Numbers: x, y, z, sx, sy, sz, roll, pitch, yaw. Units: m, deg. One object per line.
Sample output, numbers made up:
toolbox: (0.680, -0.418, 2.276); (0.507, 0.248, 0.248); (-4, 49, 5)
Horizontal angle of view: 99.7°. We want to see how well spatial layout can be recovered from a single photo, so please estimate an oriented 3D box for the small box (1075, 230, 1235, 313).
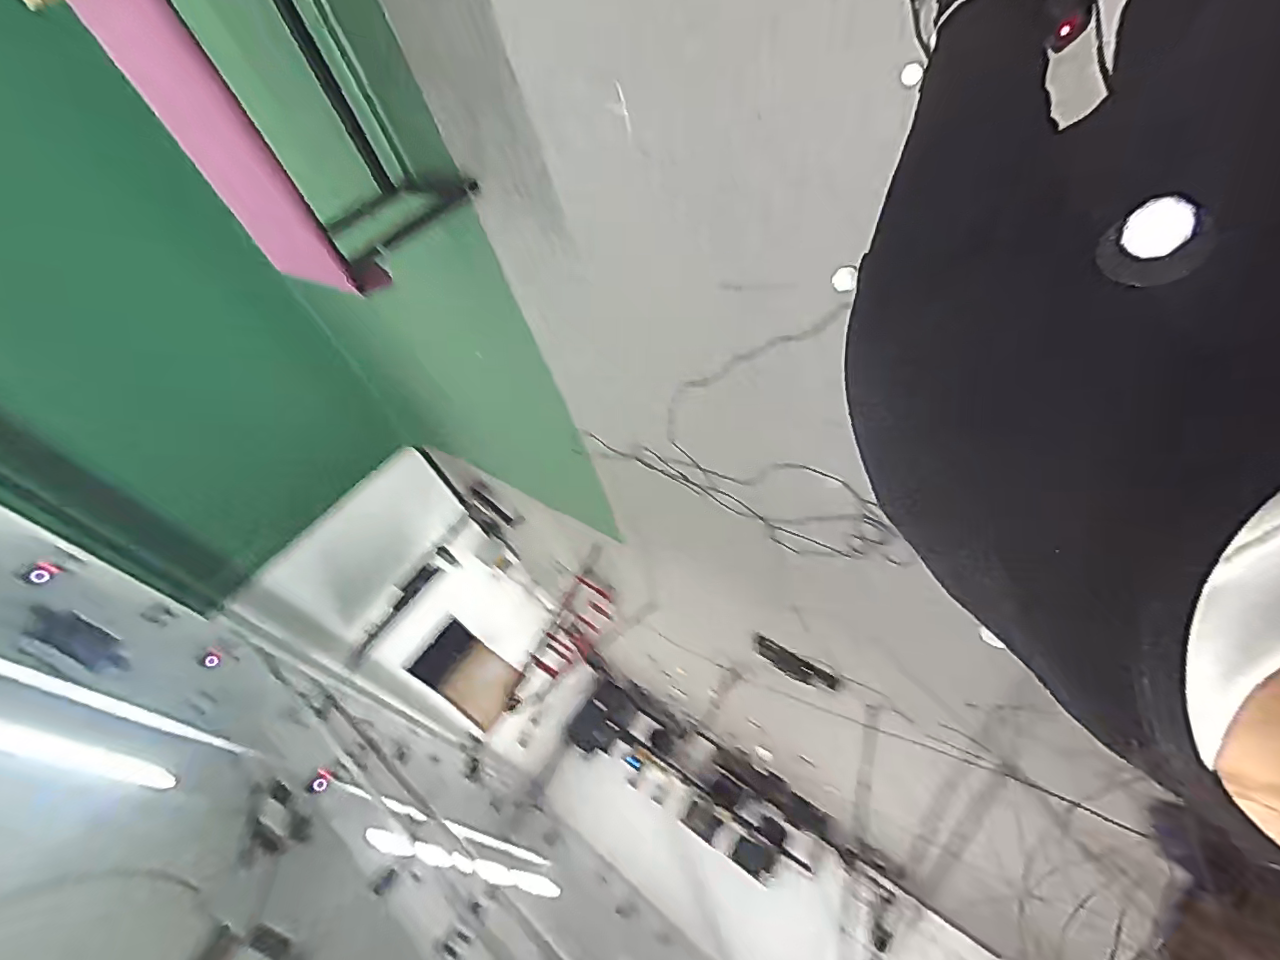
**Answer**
small box: (0.926, -0.336, 0.994); (0.179, 0.176, 0.168); (23, 150, 30)
